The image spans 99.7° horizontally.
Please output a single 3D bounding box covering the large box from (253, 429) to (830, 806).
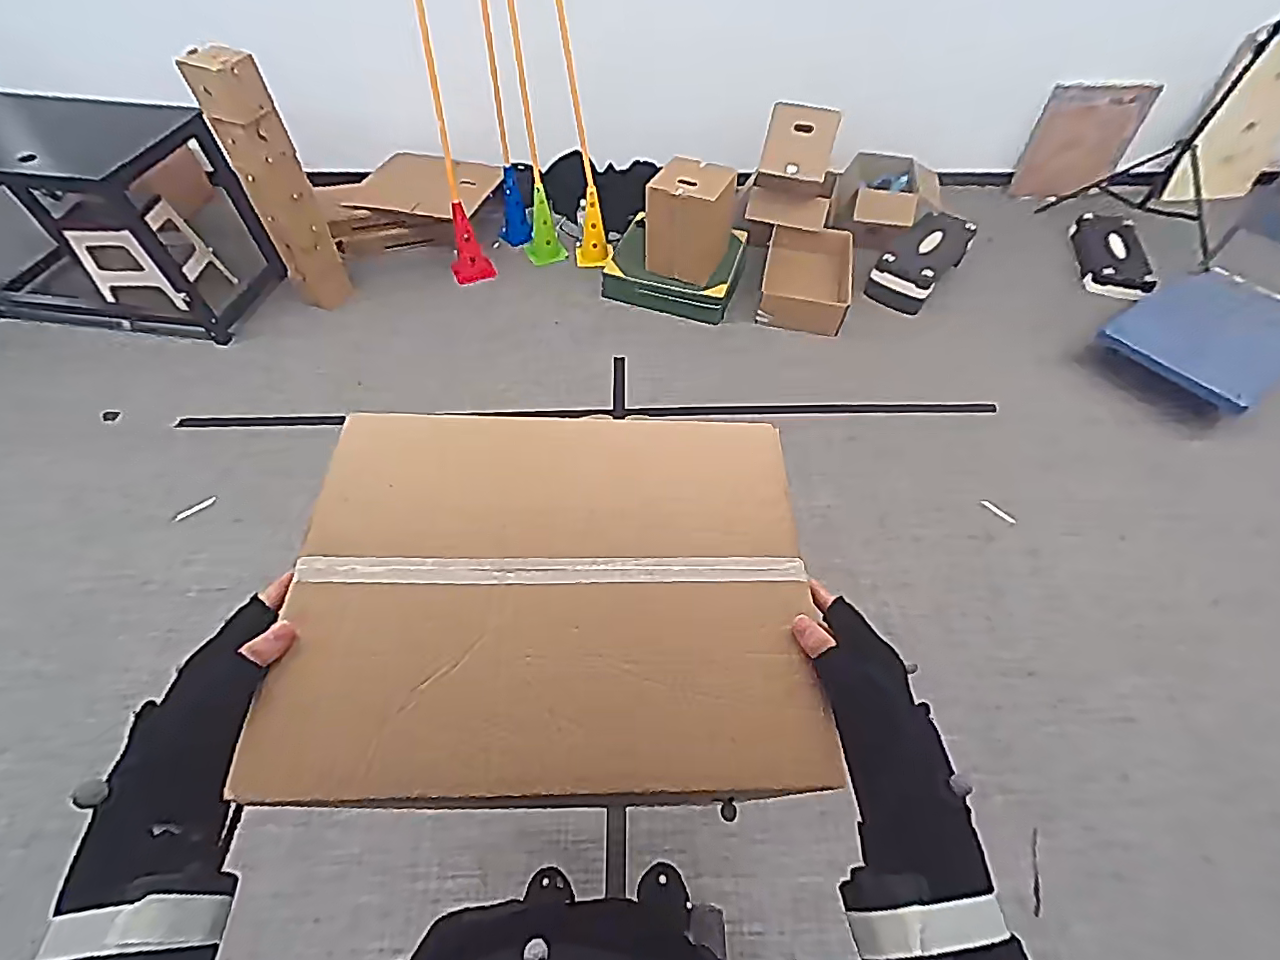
[{"bbox_3d":[-0.073,0.159,0.575,0.408,0.320,0.320,1,58,-4],"label":"large box"}]

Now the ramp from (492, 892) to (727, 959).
[{"bbox_3d":[-0.050,1.351,0.954,0.509,0.206,0.991,-1,55,-4],"label":"ramp"}]
